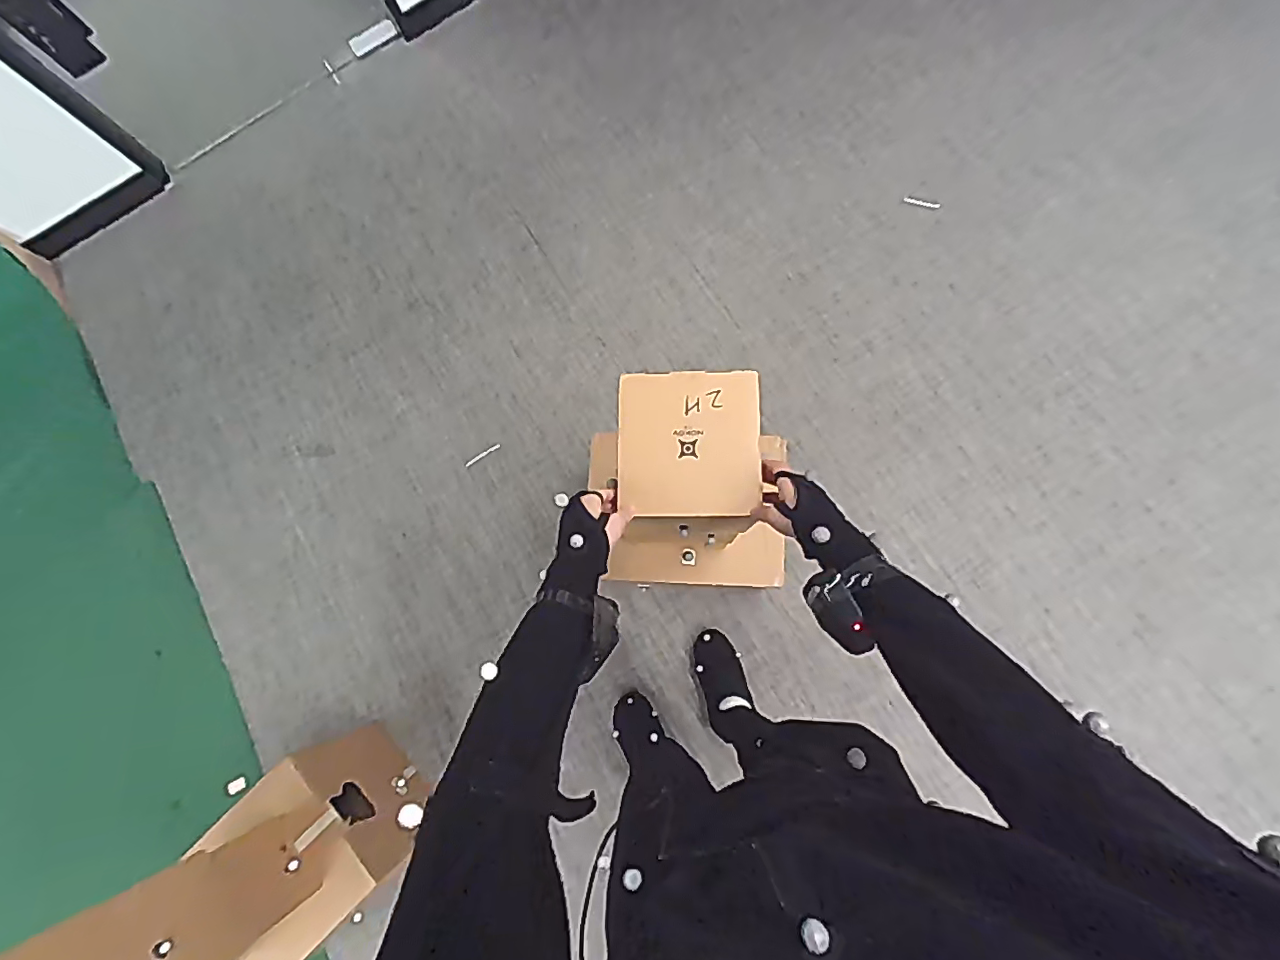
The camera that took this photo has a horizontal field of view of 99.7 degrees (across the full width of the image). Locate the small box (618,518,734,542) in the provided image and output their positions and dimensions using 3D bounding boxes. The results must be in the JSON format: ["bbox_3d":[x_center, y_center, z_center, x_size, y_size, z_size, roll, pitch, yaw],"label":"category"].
[{"bbox_3d":[0.064,0.009,0.859,0.179,0.176,0.168,0,78,5],"label":"small box"}]

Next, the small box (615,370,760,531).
[{"bbox_3d":[0.061,-0.028,0.698,0.168,0.176,0.179,0,78,4],"label":"small box"}]

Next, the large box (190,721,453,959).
[{"bbox_3d":[-0.706,0.821,1.191,0.320,0.320,0.408,43,87,14],"label":"large box"}]

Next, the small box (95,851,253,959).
[{"bbox_3d":[-0.728,0.707,0.797,0.168,0.176,0.179,-40,78,-3],"label":"small box"}]

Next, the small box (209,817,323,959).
[{"bbox_3d":[-0.715,0.750,0.955,0.179,0.176,0.168,-42,78,-4],"label":"small box"}]

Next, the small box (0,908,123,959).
[{"bbox_3d":[-0.751,0.674,0.637,0.168,0.176,0.179,-42,79,-3],"label":"small box"}]
